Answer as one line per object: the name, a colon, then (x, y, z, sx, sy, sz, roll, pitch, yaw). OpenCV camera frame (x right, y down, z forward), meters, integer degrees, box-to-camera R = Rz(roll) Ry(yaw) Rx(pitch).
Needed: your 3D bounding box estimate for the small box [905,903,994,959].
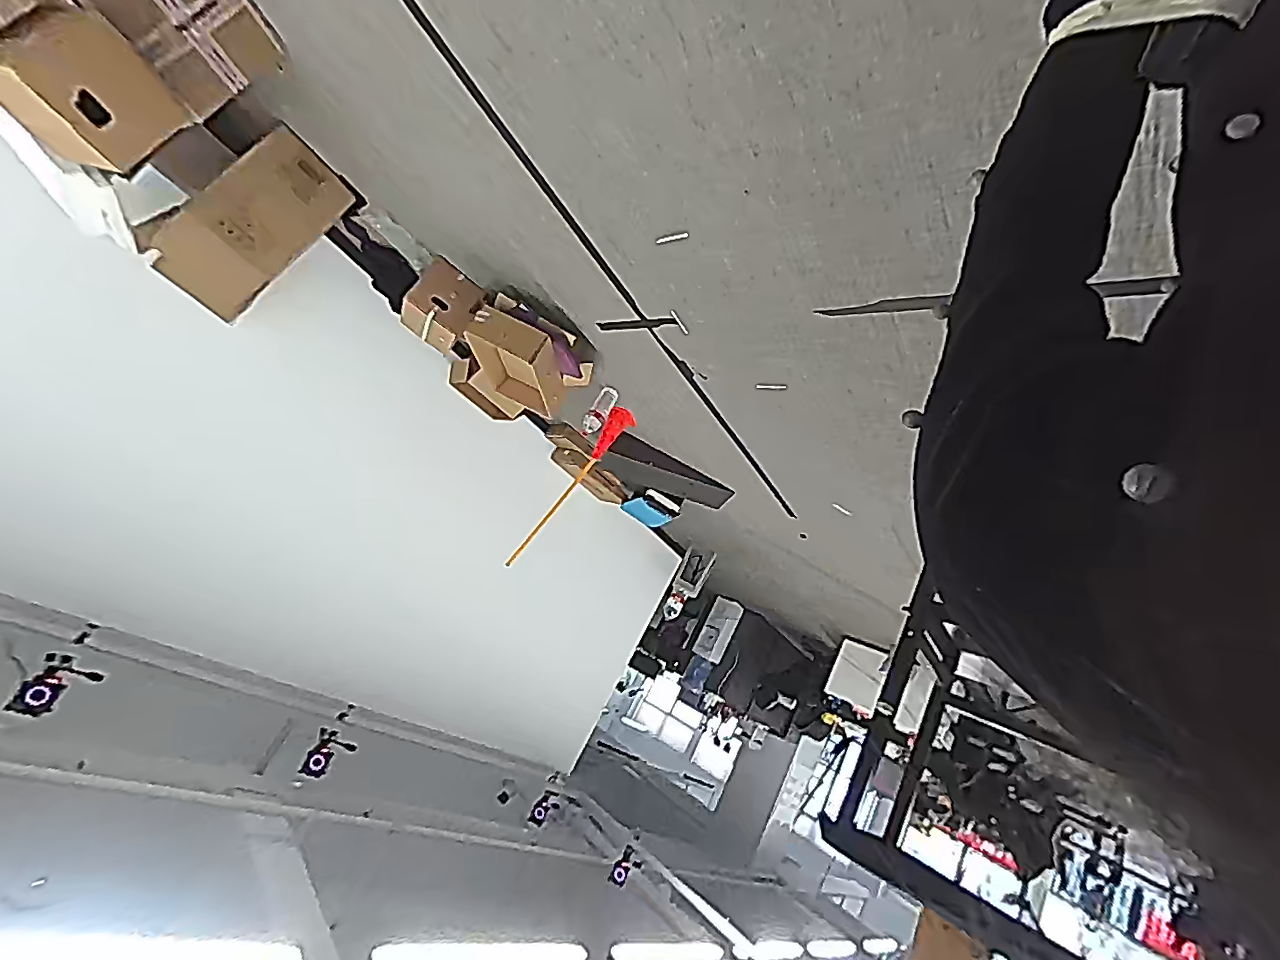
small box: (0.794, 1.231, 1.391, 0.168, 0.176, 0.179, 14, 159, 41)
